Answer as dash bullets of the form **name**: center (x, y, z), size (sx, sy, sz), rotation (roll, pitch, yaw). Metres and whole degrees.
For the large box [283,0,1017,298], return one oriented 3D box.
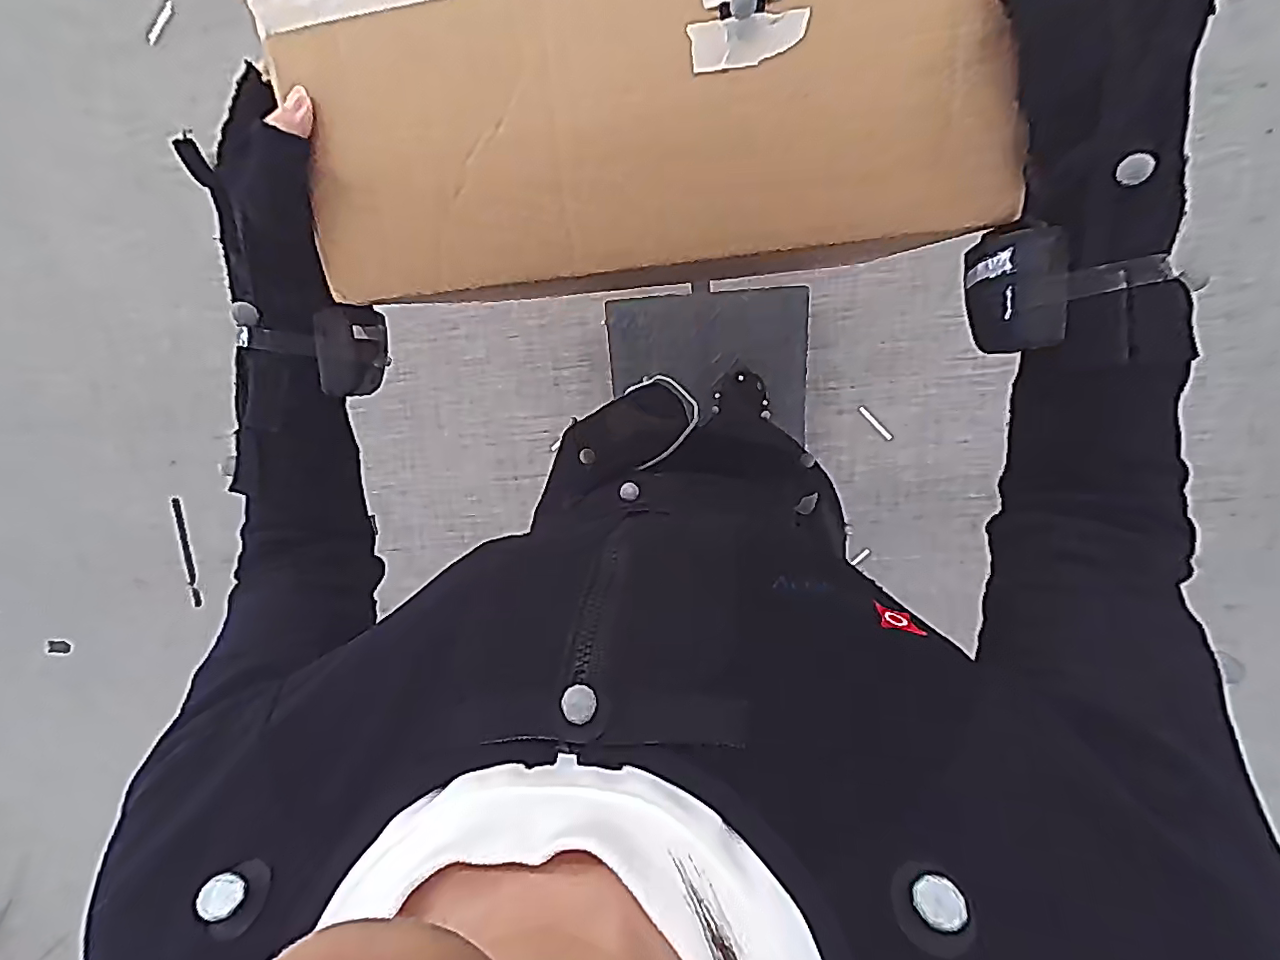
- **large box**: center (0.006, -0.330, 0.424), size (0.408, 0.320, 0.320), rotation (-4, 109, 10)
